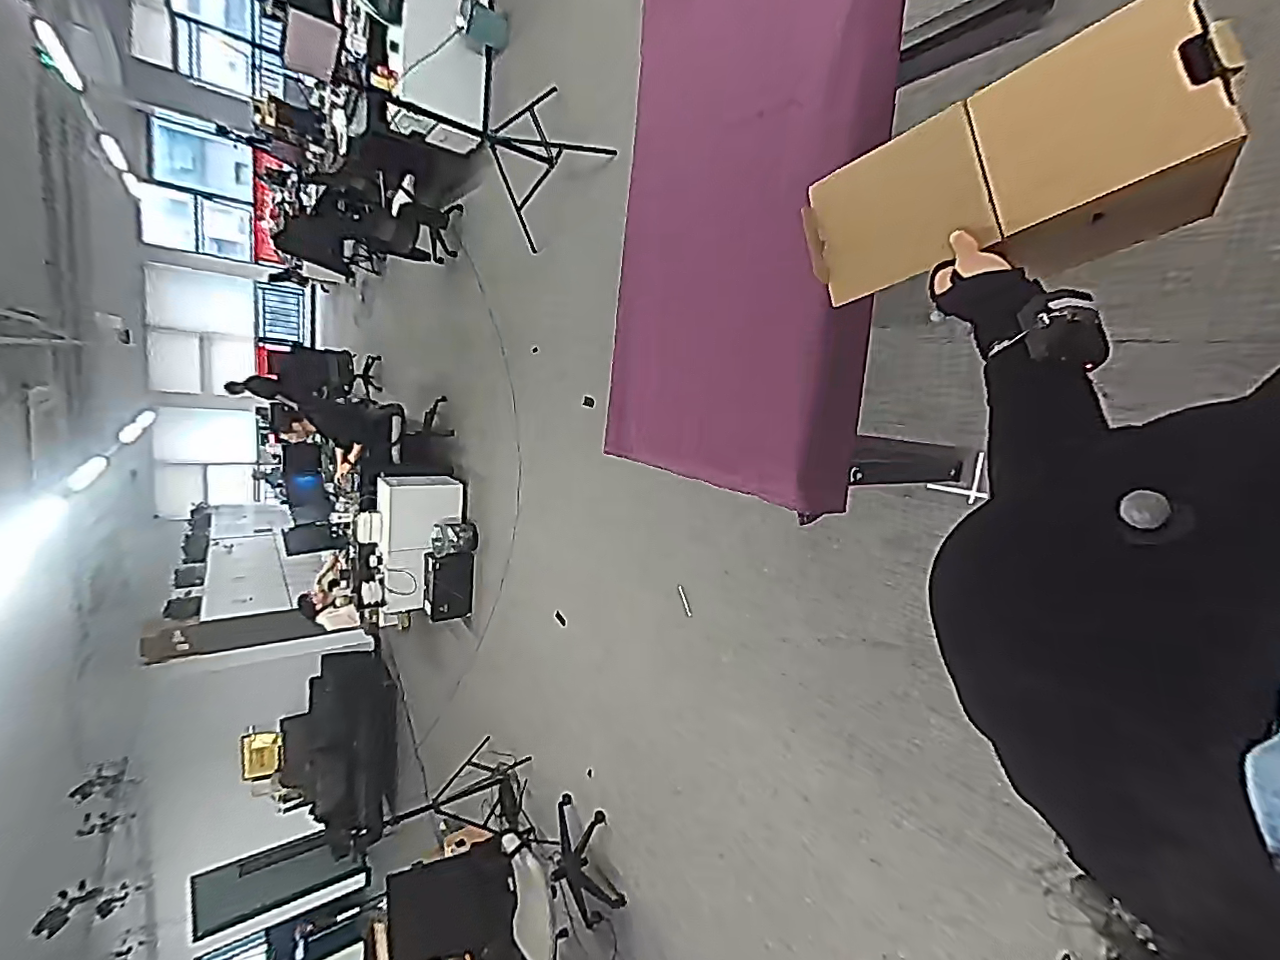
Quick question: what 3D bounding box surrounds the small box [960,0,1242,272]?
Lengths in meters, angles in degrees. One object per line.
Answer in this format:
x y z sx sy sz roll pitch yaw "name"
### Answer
0.461 -0.343 0.558 0.179 0.176 0.168 -16 80 40 "small box"
